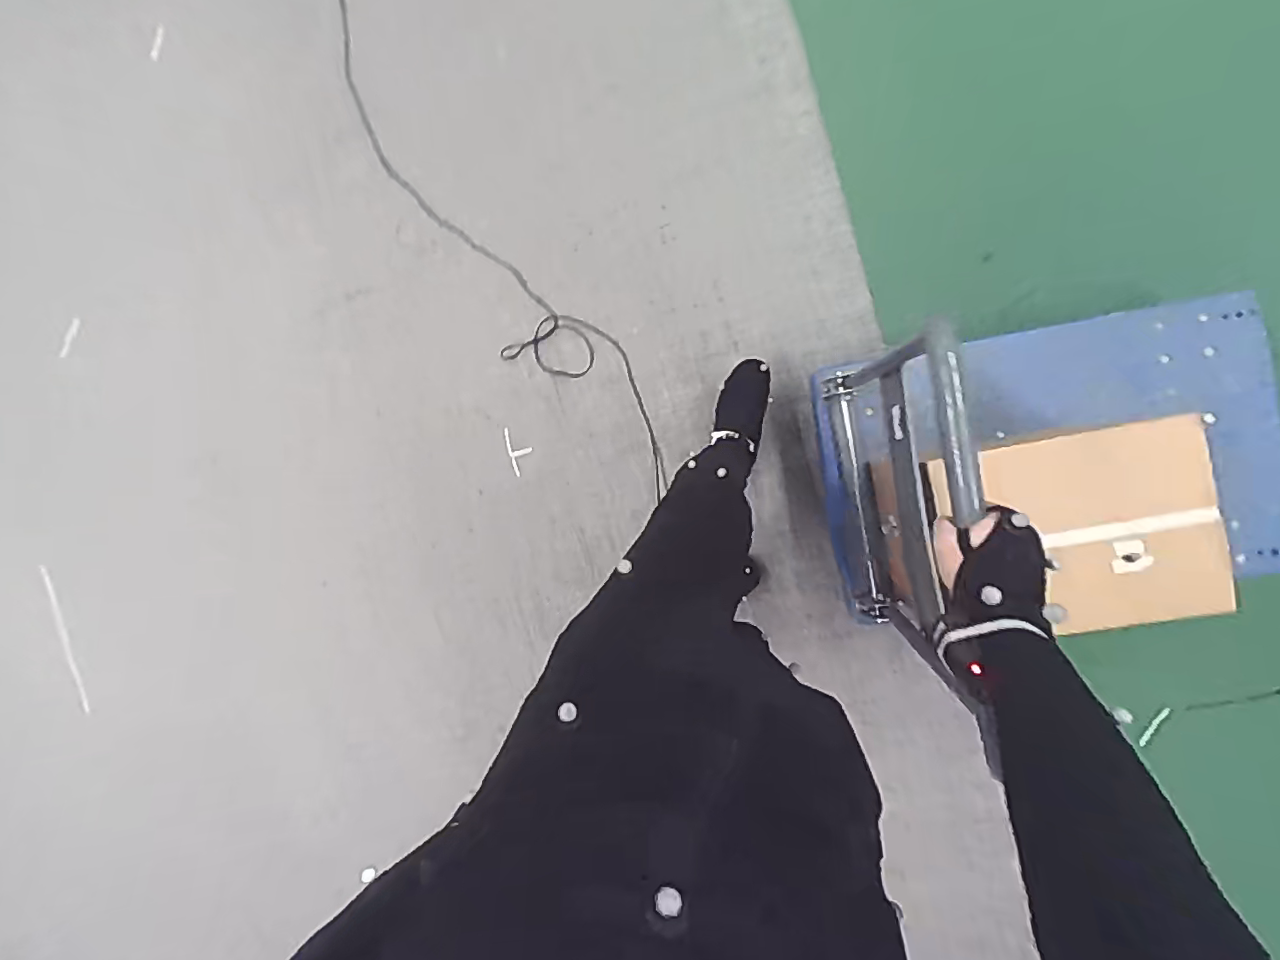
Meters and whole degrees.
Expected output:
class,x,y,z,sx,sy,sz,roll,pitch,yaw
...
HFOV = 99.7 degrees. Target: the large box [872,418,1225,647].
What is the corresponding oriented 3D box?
class,x,y,z,sx,sy,sz,roll,pitch,yaw
large box,0.709,0.086,1.013,0.408,0.320,0.320,-10,91,7
